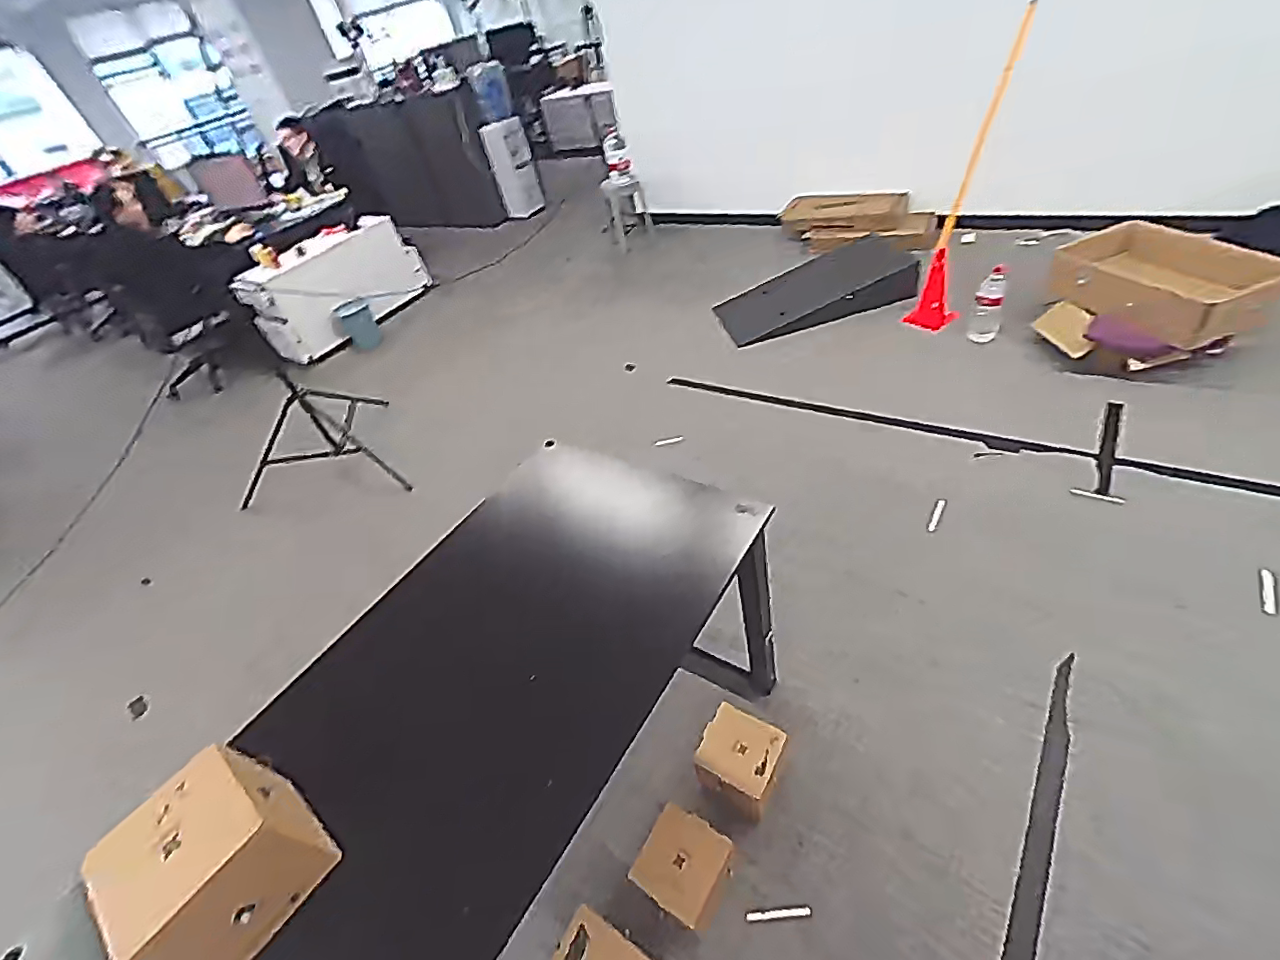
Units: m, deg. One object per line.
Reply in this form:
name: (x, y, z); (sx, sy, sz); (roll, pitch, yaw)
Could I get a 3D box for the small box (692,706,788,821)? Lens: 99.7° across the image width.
small box: (0.250, 0.700, 1.330); (0.179, 0.176, 0.168); (16, 51, 31)

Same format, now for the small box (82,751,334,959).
small box: (-0.542, 0.497, 0.697); (0.179, 0.176, 0.168); (20, 52, 34)

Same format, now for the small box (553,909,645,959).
small box: (-0.079, 1.020, 1.086); (0.179, 0.176, 0.168); (18, 52, 31)

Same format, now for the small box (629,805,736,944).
small box: (0.101, 0.871, 1.195); (0.168, 0.176, 0.179); (18, 52, 32)
